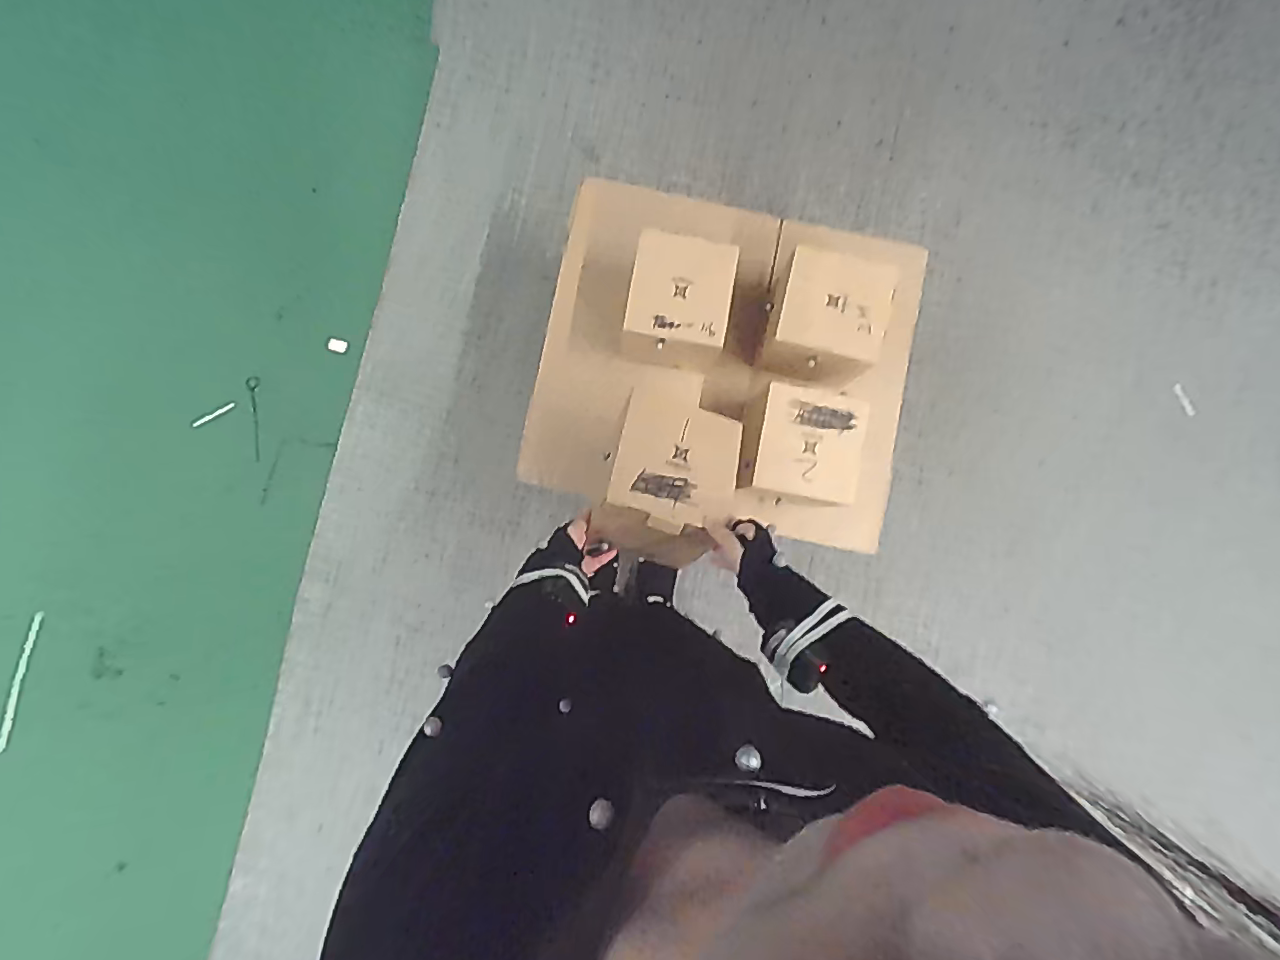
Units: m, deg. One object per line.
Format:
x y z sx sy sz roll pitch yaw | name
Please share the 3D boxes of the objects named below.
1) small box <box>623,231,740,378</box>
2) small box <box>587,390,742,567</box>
0.066 -0.298 0.947 0.168 0.176 0.179 10 85 1 | small box
0.028 0.008 0.775 0.168 0.176 0.179 17 61 -8 | small box
